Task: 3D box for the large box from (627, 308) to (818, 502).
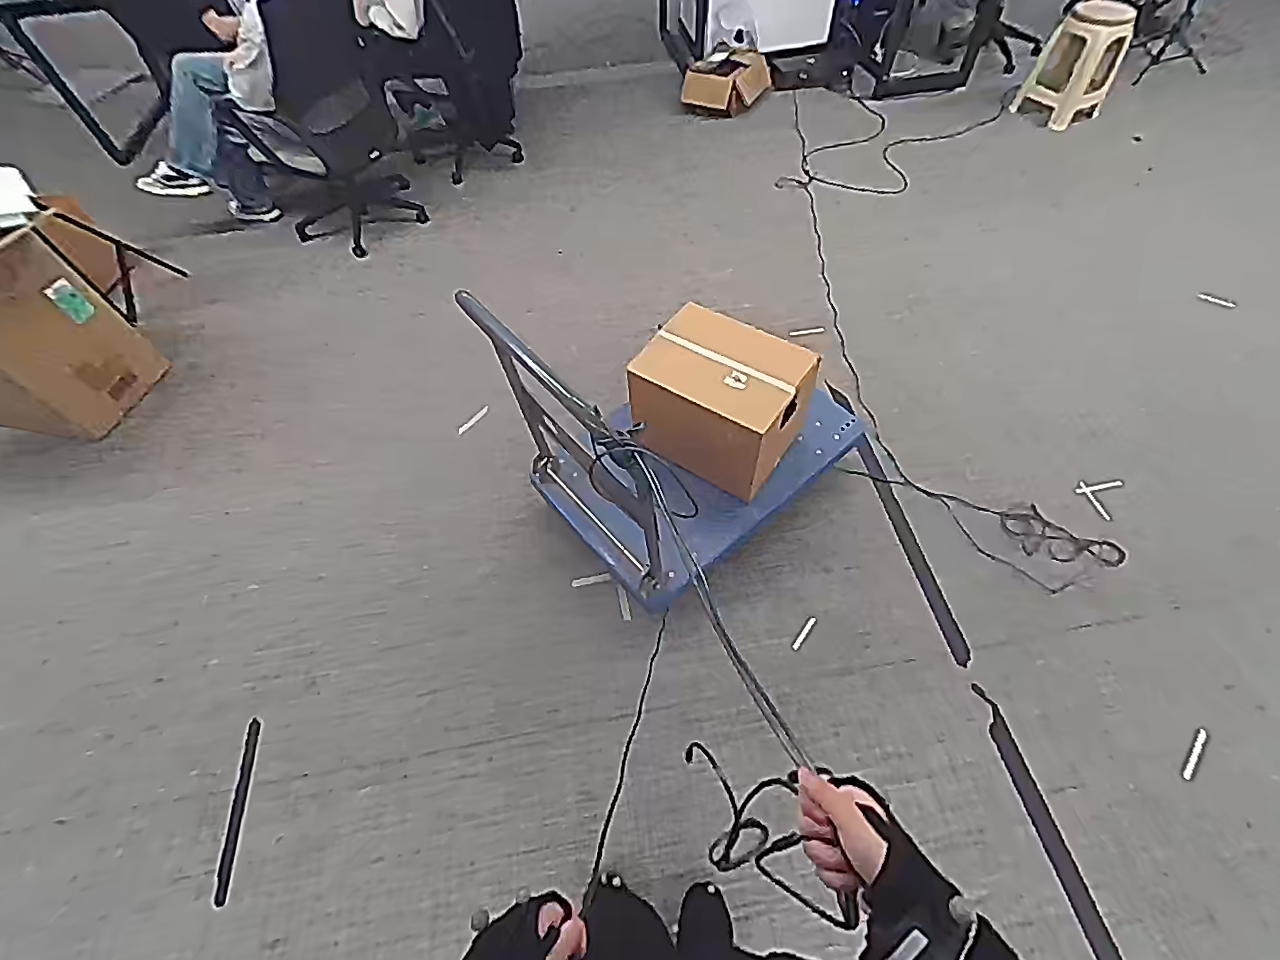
[{"bbox_3d":[0.215,-0.209,1.508,0.408,0.320,0.320,30,63,20],"label":"large box"}]
